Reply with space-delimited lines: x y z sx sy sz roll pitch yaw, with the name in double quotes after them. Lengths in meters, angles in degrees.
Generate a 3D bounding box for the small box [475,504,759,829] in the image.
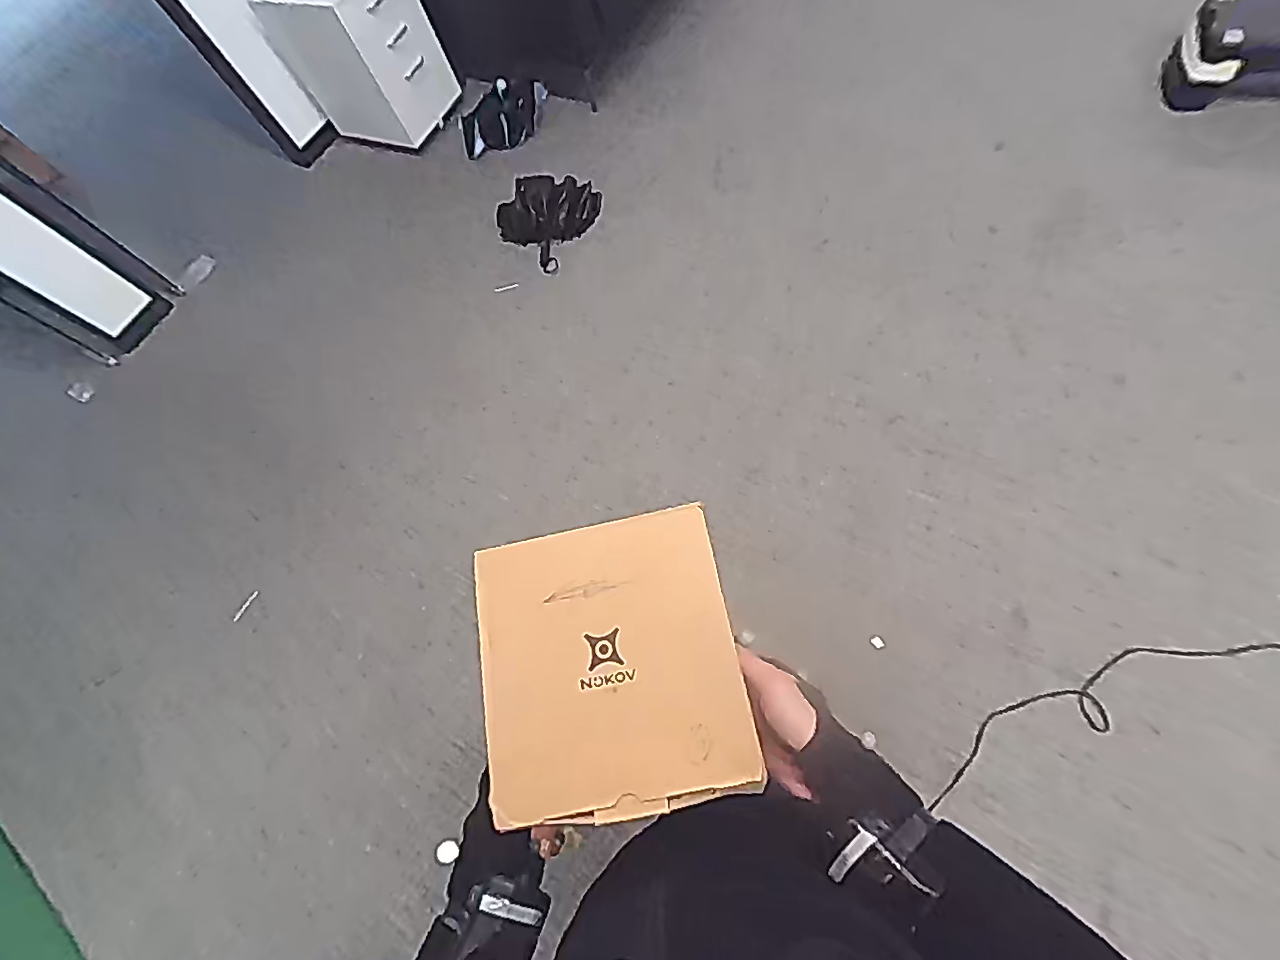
-0.011 0.139 0.421 0.168 0.176 0.179 -13 68 3 "small box"
